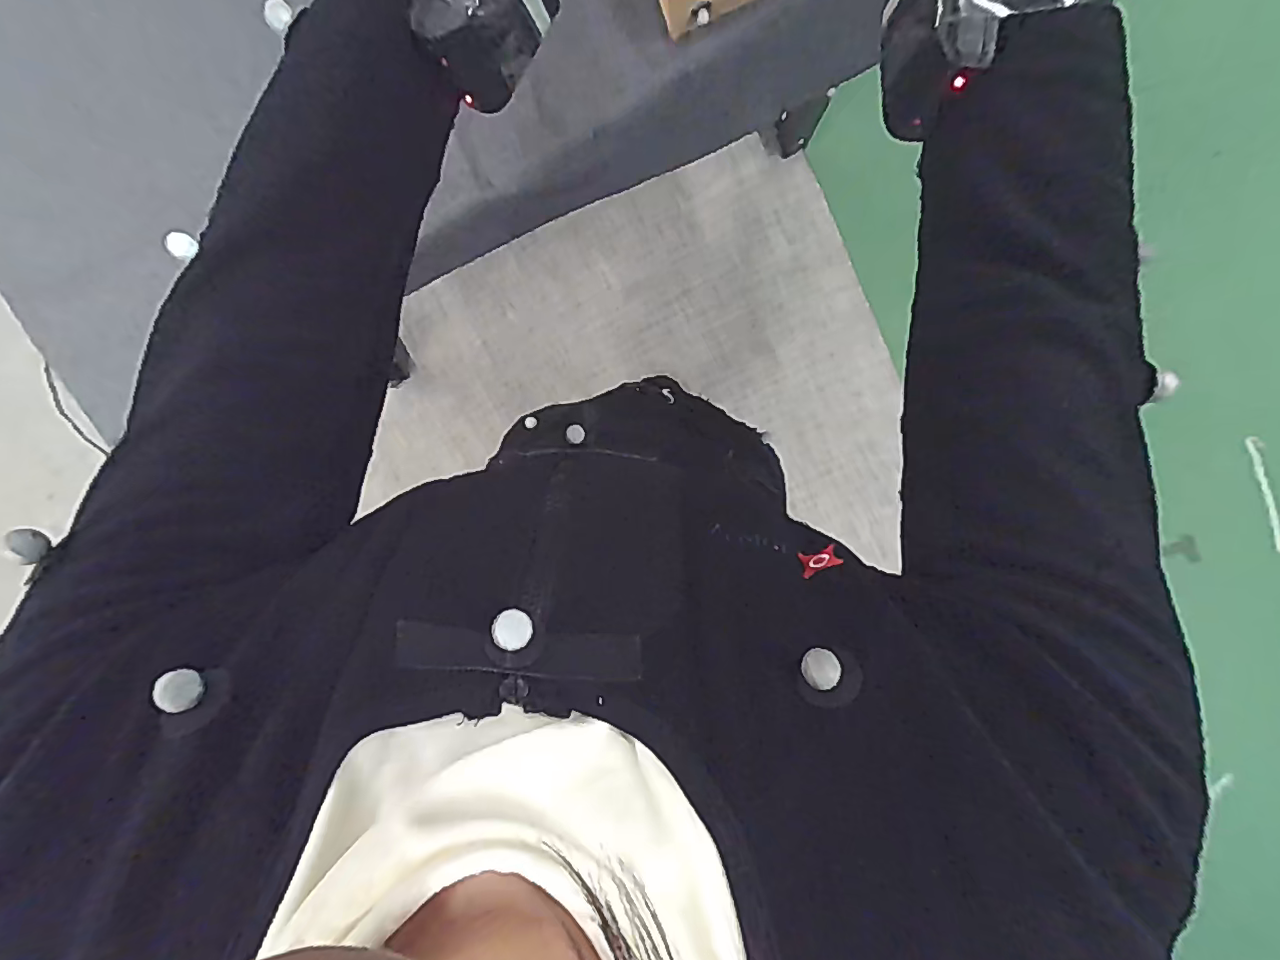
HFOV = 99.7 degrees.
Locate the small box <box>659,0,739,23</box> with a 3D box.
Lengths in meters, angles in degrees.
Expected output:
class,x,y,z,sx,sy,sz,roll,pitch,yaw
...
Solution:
class,x,y,z,sx,sy,sz,roll,pitch,yaw
small box,0.073,-0.561,0.479,0.168,0.176,0.179,-18,99,10
